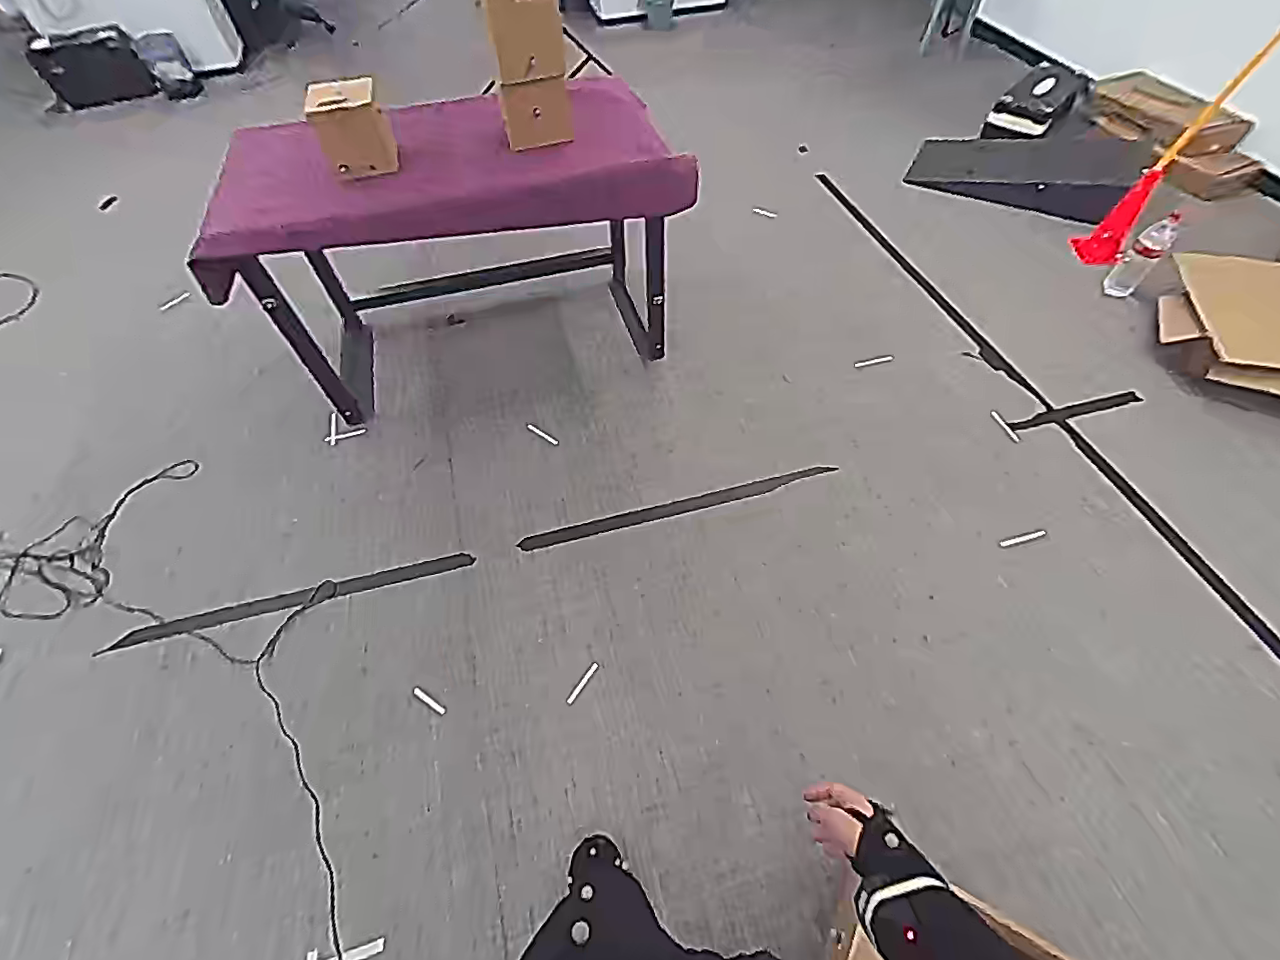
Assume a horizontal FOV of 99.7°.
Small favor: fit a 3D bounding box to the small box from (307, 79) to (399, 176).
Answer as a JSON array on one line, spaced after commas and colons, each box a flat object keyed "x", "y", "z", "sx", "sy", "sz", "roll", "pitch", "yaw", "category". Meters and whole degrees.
[{"x": -0.765, "y": -0.941, "z": 1.458, "sx": 0.168, "sy": 0.176, "sz": 0.179, "roll": -14, "pitch": 55, "yaw": -8, "category": "small box"}]

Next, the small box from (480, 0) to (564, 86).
[{"x": -0.300, "y": -1.146, "z": 1.385, "sx": 0.179, "sy": 0.176, "sz": 0.168, "roll": -18, "pitch": 56, "yaw": -10, "category": "small box"}]
